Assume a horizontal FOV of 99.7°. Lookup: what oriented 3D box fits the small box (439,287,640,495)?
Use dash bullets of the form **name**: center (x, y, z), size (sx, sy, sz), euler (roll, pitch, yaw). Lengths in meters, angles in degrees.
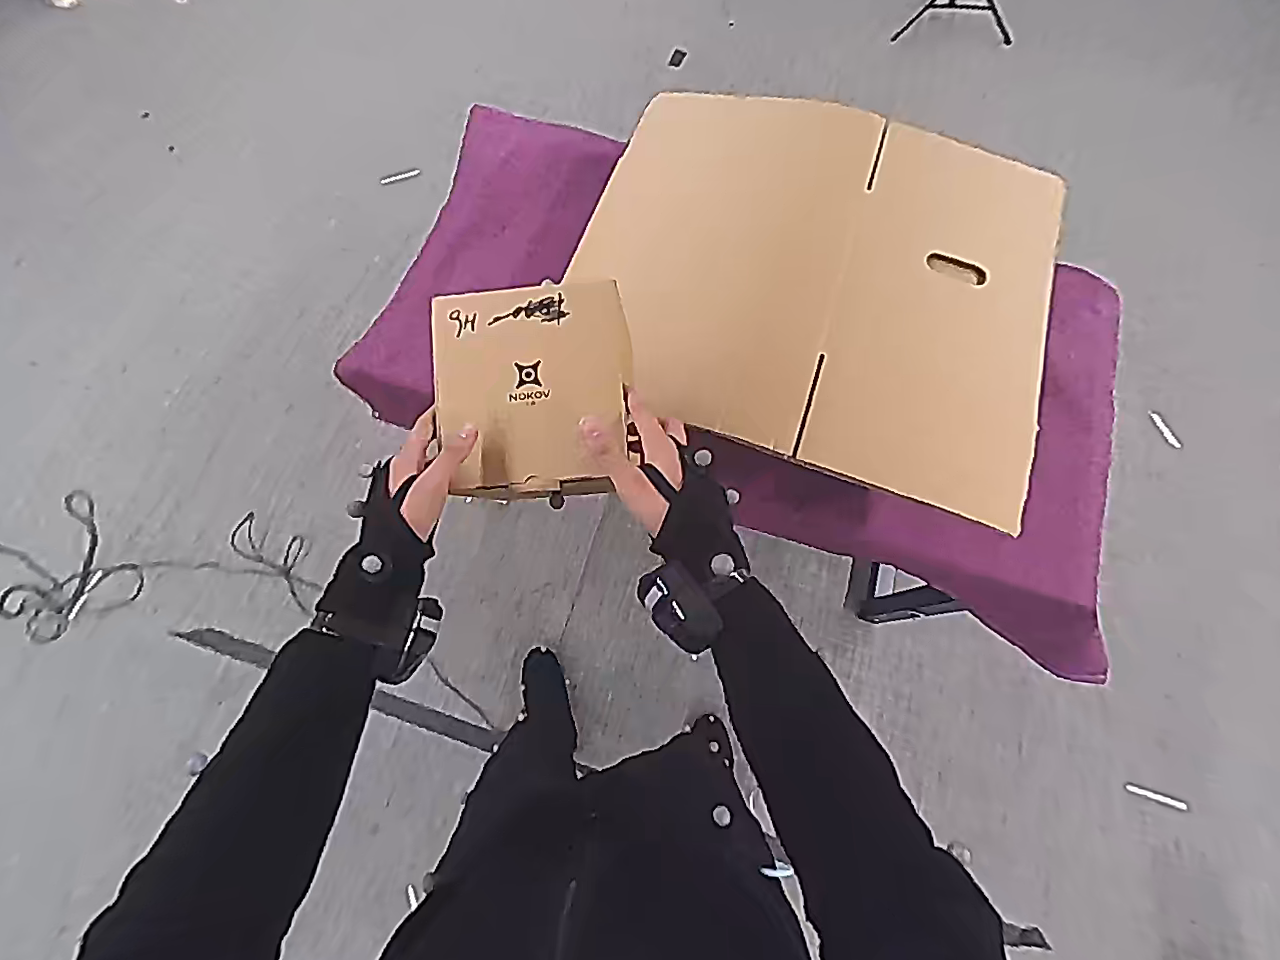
- **small box**: center (-0.089, -0.074, 0.552), size (0.168, 0.176, 0.179), euler (-3, 86, 4)
